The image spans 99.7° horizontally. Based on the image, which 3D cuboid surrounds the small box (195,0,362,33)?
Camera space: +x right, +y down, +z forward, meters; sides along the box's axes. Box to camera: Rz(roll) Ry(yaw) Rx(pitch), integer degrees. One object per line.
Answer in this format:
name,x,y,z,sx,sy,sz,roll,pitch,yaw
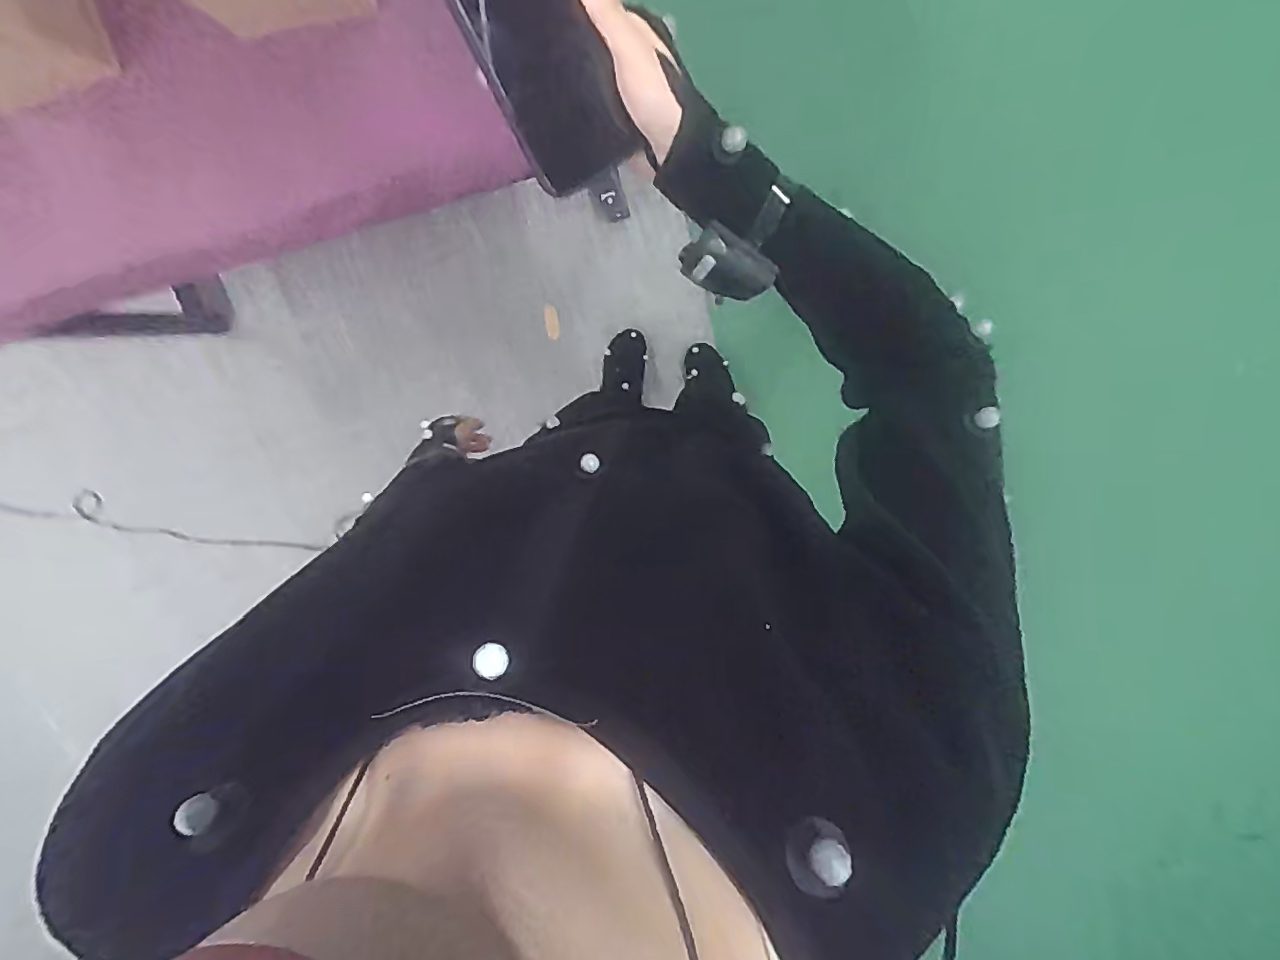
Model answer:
small box,-0.401,-0.593,0.539,0.179,0.176,0.168,-6,105,6
